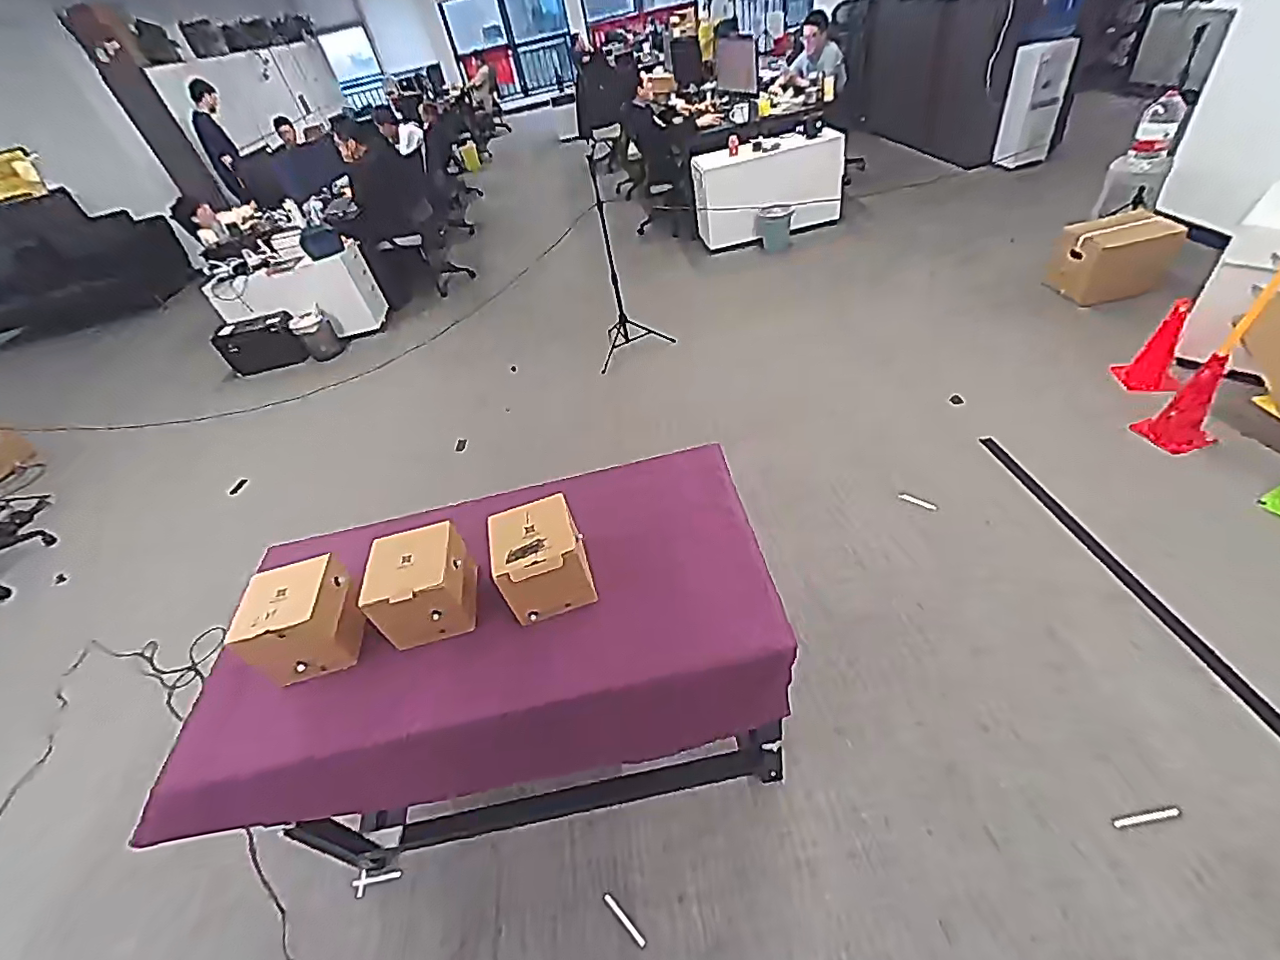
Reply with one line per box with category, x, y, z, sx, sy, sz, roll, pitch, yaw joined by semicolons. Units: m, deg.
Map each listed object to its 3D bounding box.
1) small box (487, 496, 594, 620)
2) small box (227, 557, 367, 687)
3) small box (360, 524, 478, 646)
small box;-0.205;0.168;1.126;0.168;0.176;0.179;-19;41;-5
small box;-0.692;0.295;1.121;0.168;0.176;0.179;-16;42;-1
small box;-0.451;0.226;1.134;0.168;0.176;0.179;-15;41;-1
